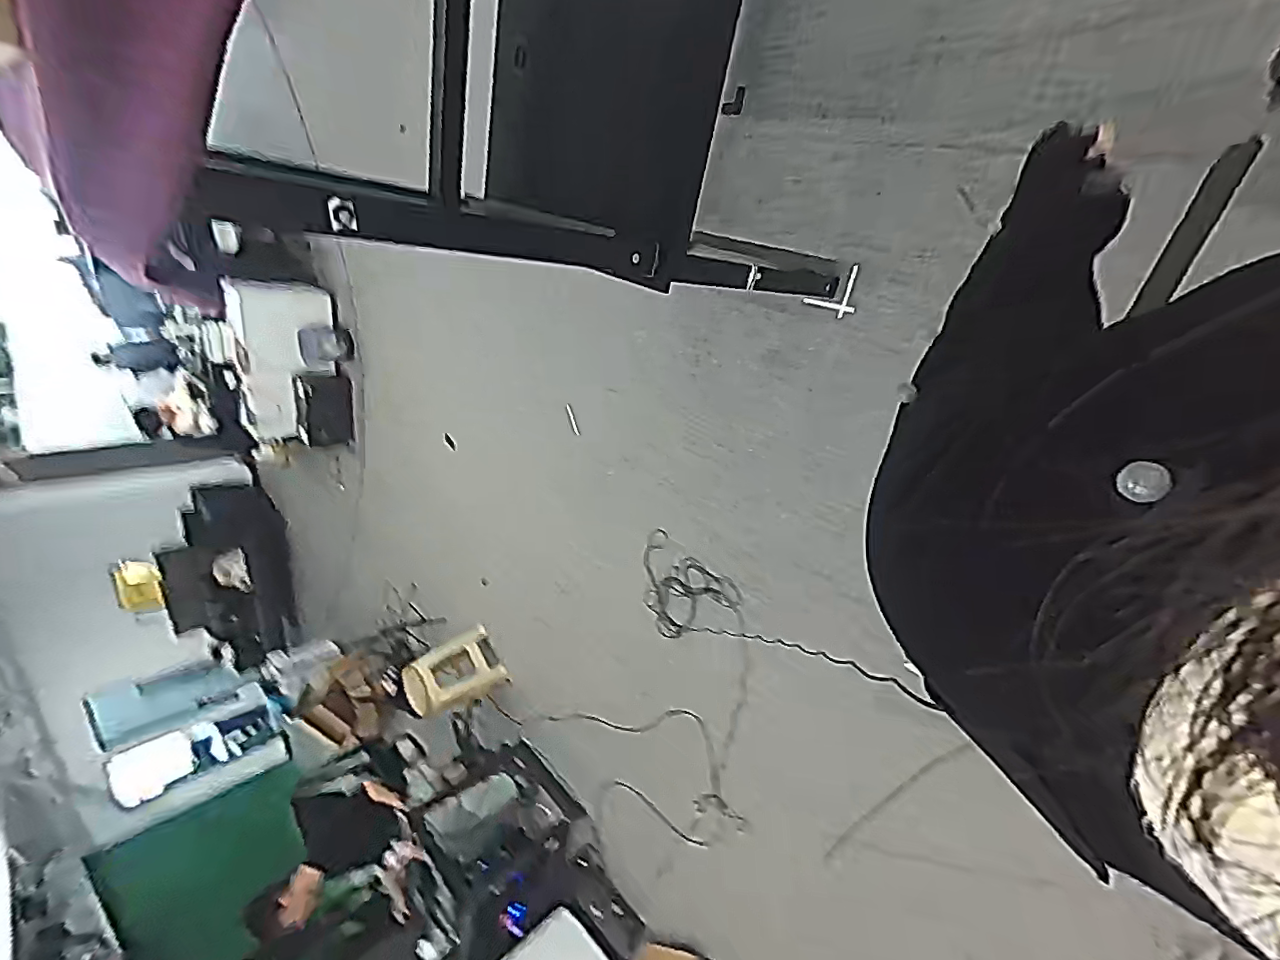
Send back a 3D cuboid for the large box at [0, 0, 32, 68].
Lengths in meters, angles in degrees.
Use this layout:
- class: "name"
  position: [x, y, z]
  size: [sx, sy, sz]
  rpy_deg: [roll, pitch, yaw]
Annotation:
- class: "large box"
  position: [-0.670, -0.511, 0.353]
  size: [0.408, 0.320, 0.320]
  rpy_deg: [30, 120, 37]
